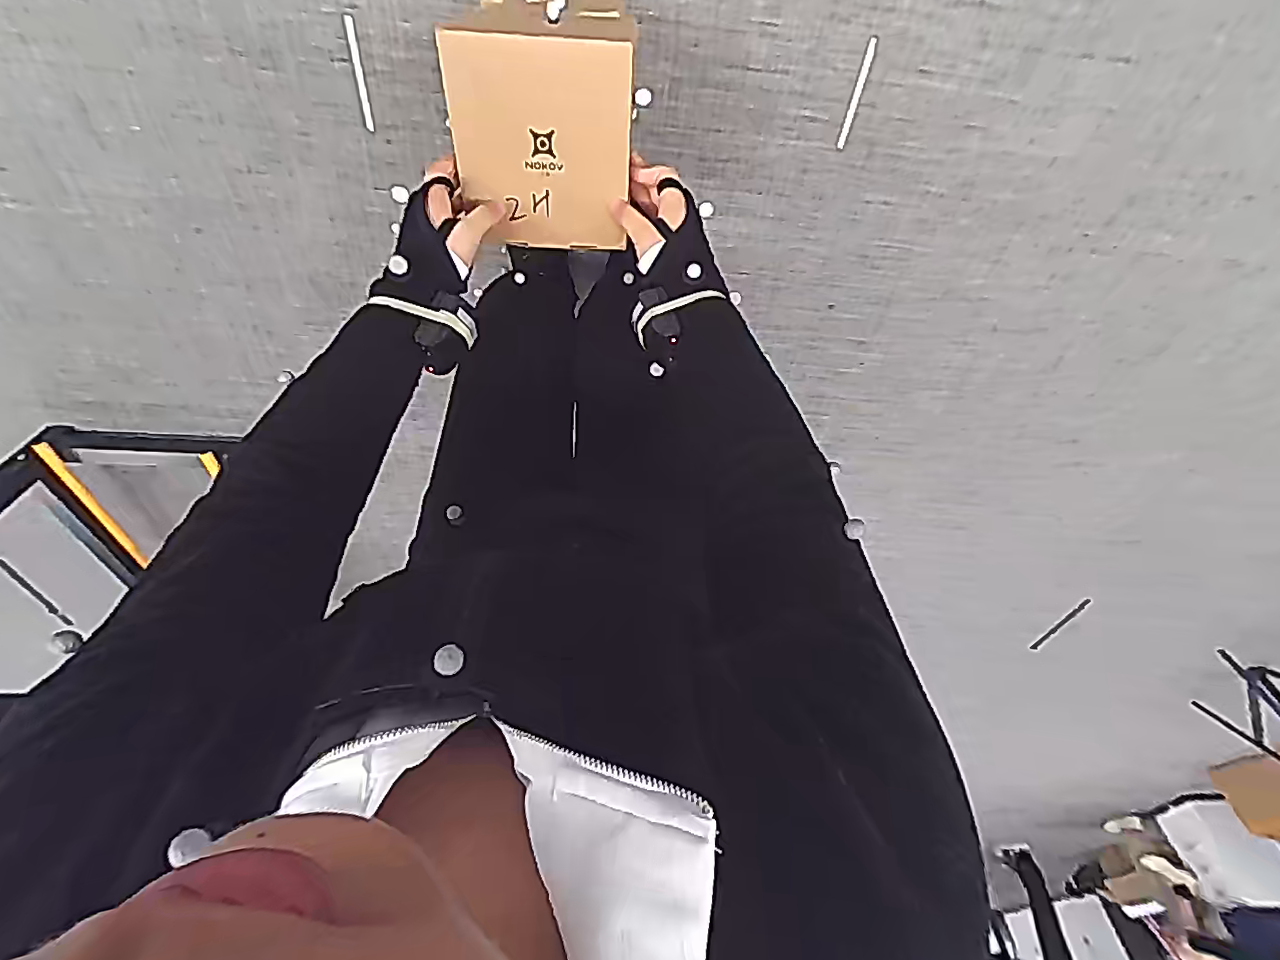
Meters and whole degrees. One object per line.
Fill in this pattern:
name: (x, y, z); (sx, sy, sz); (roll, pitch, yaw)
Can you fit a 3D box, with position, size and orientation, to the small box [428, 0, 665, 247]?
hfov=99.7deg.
small box: (-0.070, -0.330, 0.480); (0.168, 0.176, 0.179); (2, 135, -2)
